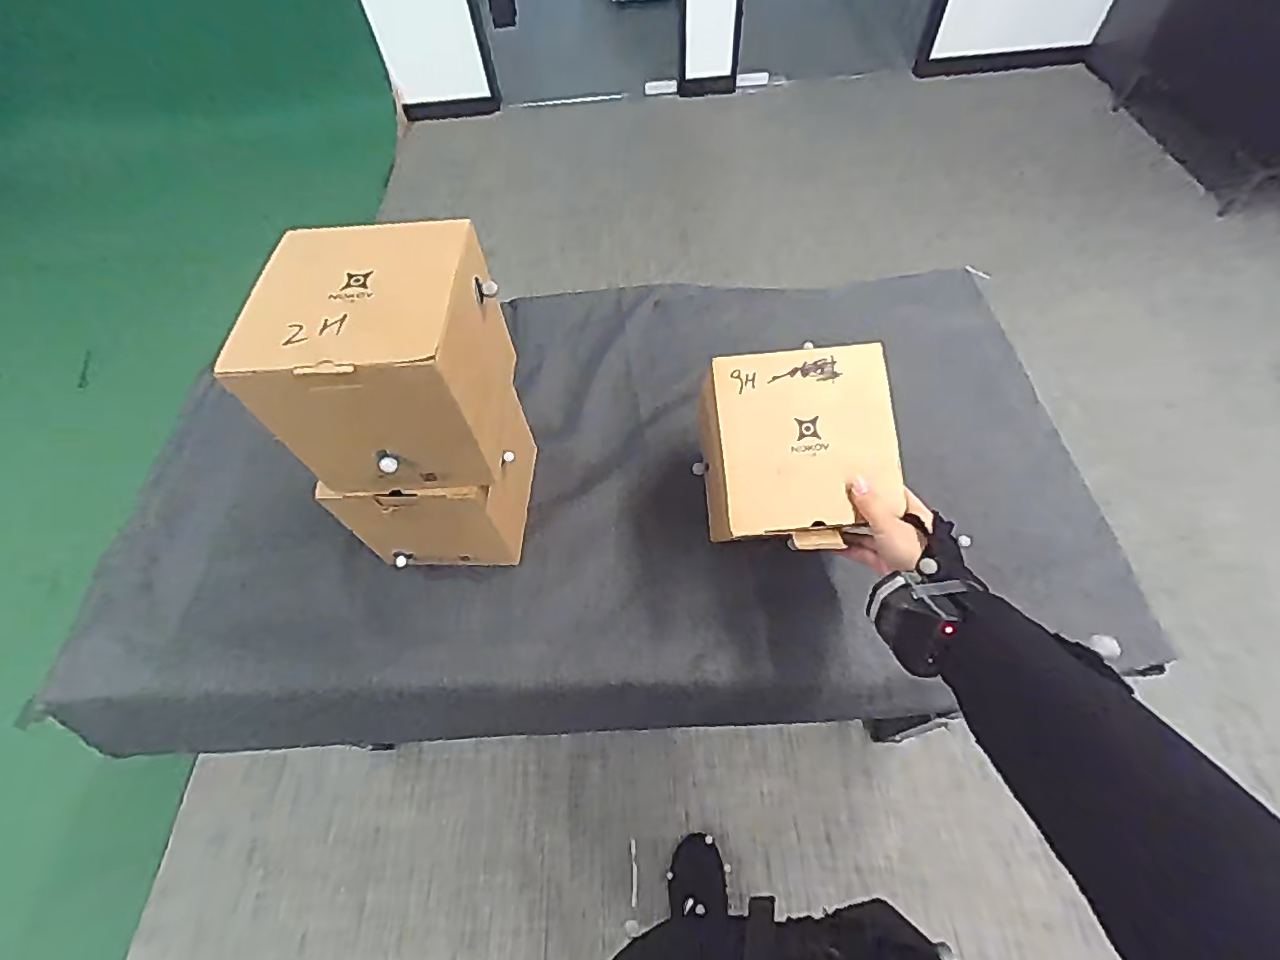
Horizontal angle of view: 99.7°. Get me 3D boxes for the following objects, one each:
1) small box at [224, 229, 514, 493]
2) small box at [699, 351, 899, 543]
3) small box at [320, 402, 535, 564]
[{"bbox_3d":[-0.223,-0.106,0.507,0.168,0.176,0.179,-3,57,2],"label":"small box"},{"bbox_3d":[0.157,-0.024,0.591,0.168,0.176,0.179,-5,82,1],"label":"small box"},{"bbox_3d":[-0.230,-0.009,0.641,0.168,0.176,0.179,0,56,3],"label":"small box"}]
